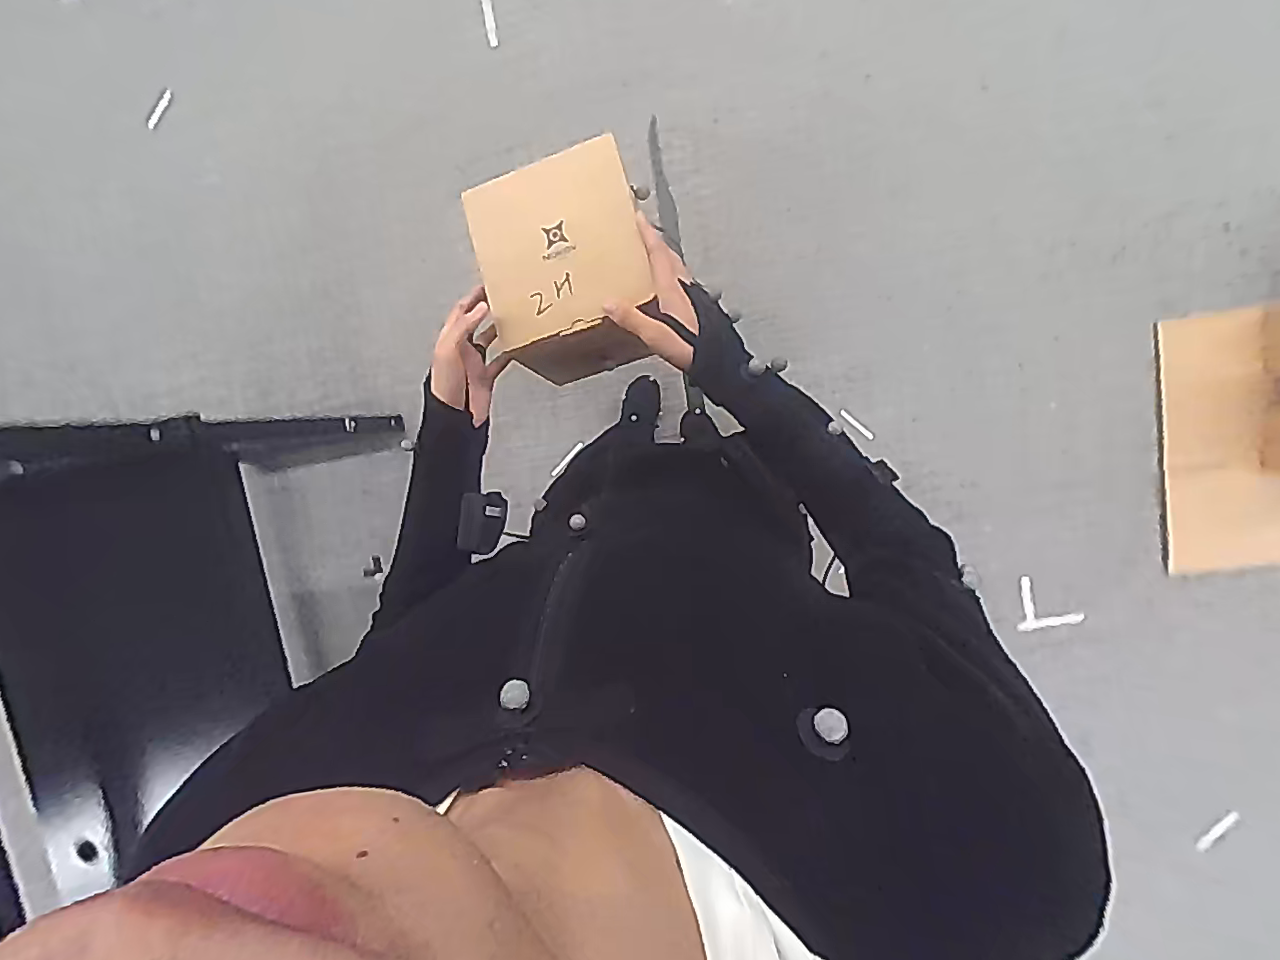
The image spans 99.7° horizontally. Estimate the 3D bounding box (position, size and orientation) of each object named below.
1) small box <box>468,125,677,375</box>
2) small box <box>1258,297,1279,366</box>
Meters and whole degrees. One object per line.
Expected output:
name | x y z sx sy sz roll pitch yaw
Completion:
small box | -0.062 -0.236 0.603 0.168 0.176 0.179 -15 86 10
small box | 1.677 -0.377 1.316 0.168 0.176 0.179 -8 96 7
